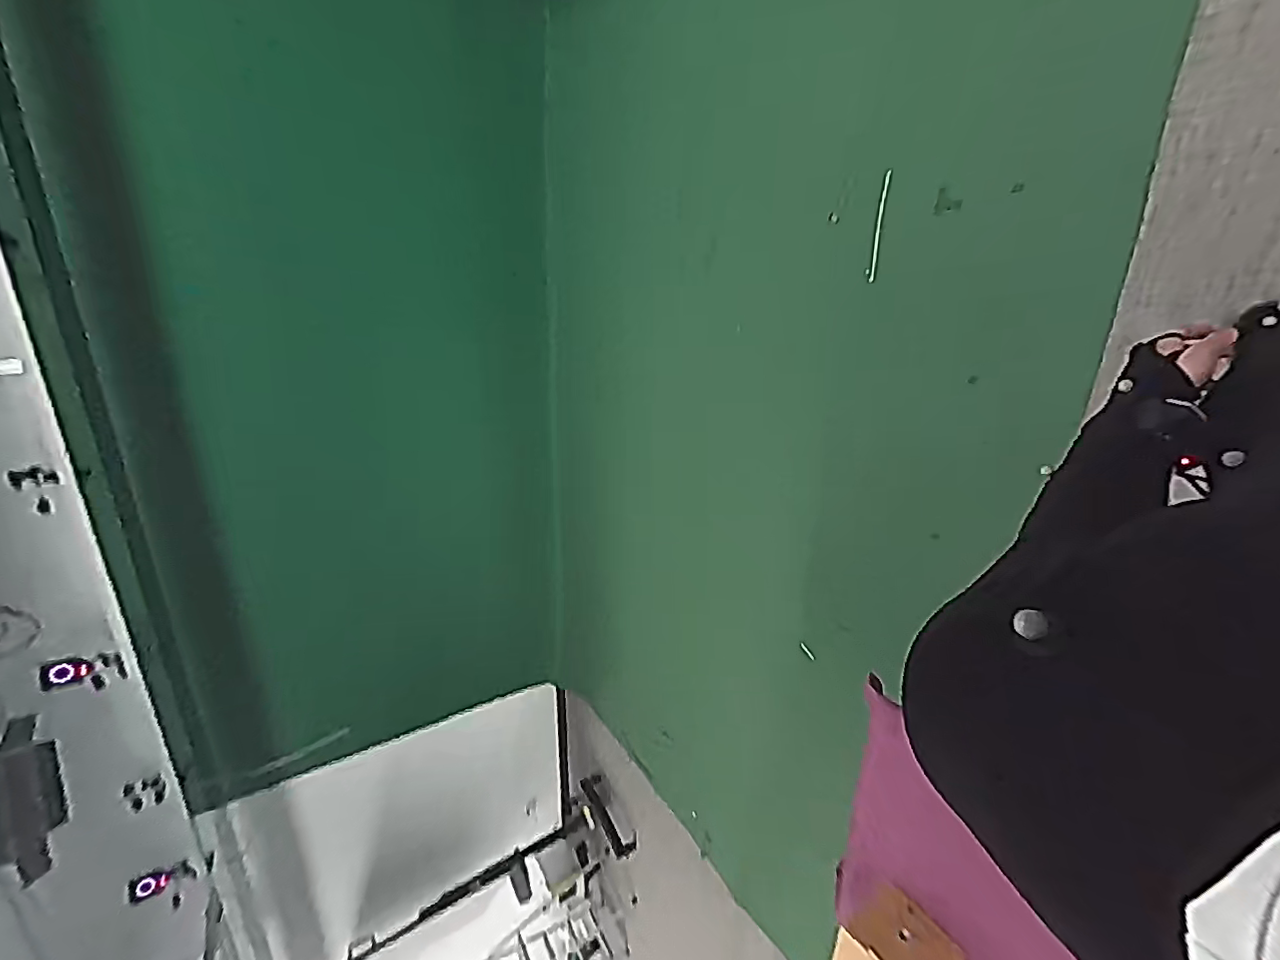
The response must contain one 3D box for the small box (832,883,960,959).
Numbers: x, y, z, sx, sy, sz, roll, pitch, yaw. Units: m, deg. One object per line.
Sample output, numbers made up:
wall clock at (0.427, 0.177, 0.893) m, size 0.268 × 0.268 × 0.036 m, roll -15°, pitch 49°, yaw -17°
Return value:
small box at (0.515, 0.979, 1.095) m, size 0.168 × 0.176 × 0.179 m, roll 27°, pitch 119°, yaw 51°
